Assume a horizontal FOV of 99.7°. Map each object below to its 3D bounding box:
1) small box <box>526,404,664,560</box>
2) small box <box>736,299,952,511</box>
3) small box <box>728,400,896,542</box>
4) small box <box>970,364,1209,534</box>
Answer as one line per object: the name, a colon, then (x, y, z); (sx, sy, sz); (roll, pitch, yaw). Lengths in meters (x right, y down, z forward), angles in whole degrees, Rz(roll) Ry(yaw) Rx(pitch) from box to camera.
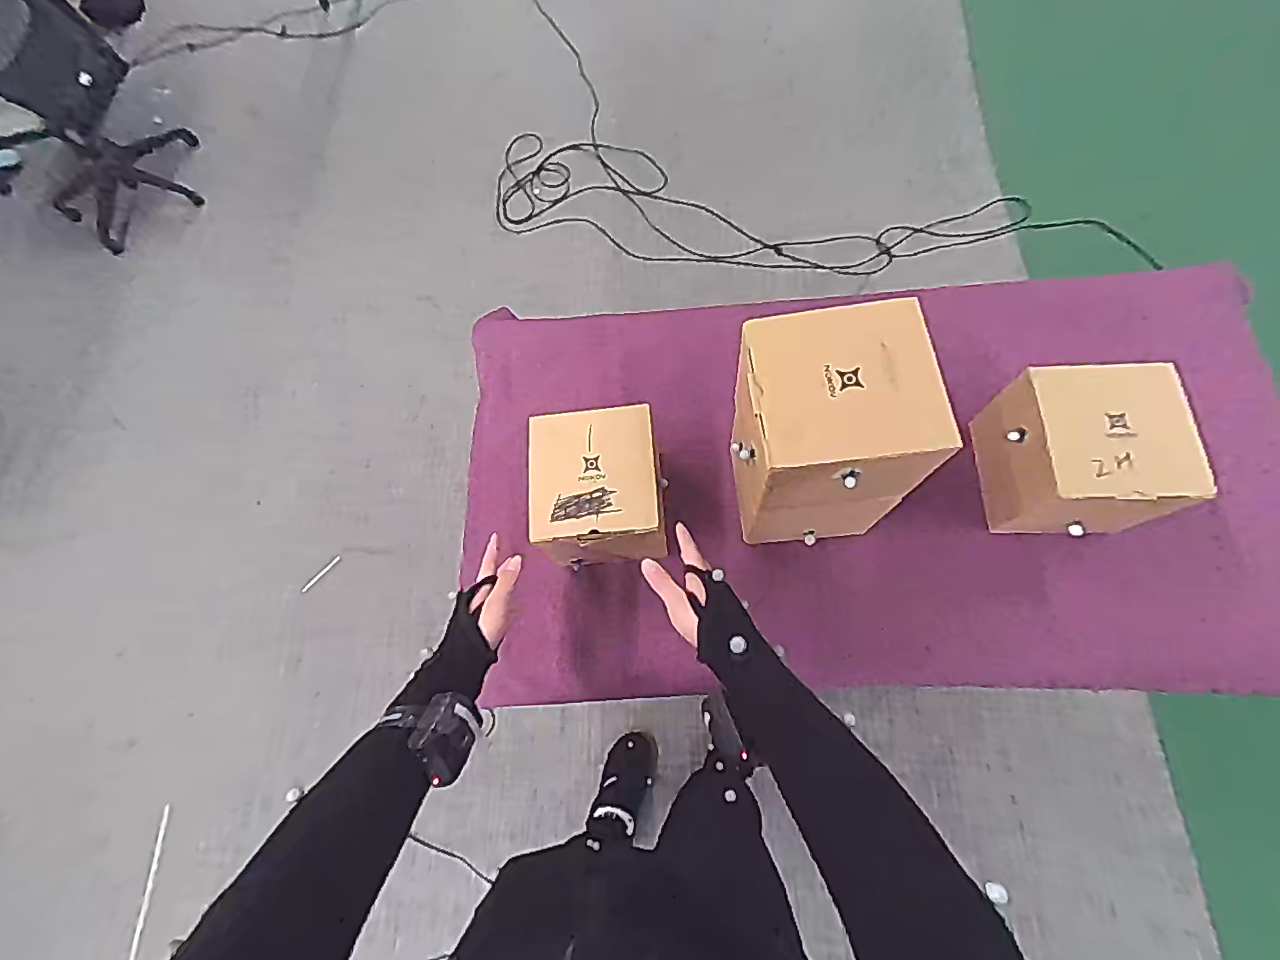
small box: (-0.058, 0.014, 0.770); (0.168, 0.176, 0.179); (-5, 69, 4)
small box: (0.202, -0.070, 0.596); (0.179, 0.176, 0.168); (-6, 71, 5)
small box: (0.222, -0.016, 0.749); (0.179, 0.176, 0.168); (-6, 70, 4)
small box: (0.566, -0.035, 0.715); (0.168, 0.176, 0.179); (0, 71, 7)
